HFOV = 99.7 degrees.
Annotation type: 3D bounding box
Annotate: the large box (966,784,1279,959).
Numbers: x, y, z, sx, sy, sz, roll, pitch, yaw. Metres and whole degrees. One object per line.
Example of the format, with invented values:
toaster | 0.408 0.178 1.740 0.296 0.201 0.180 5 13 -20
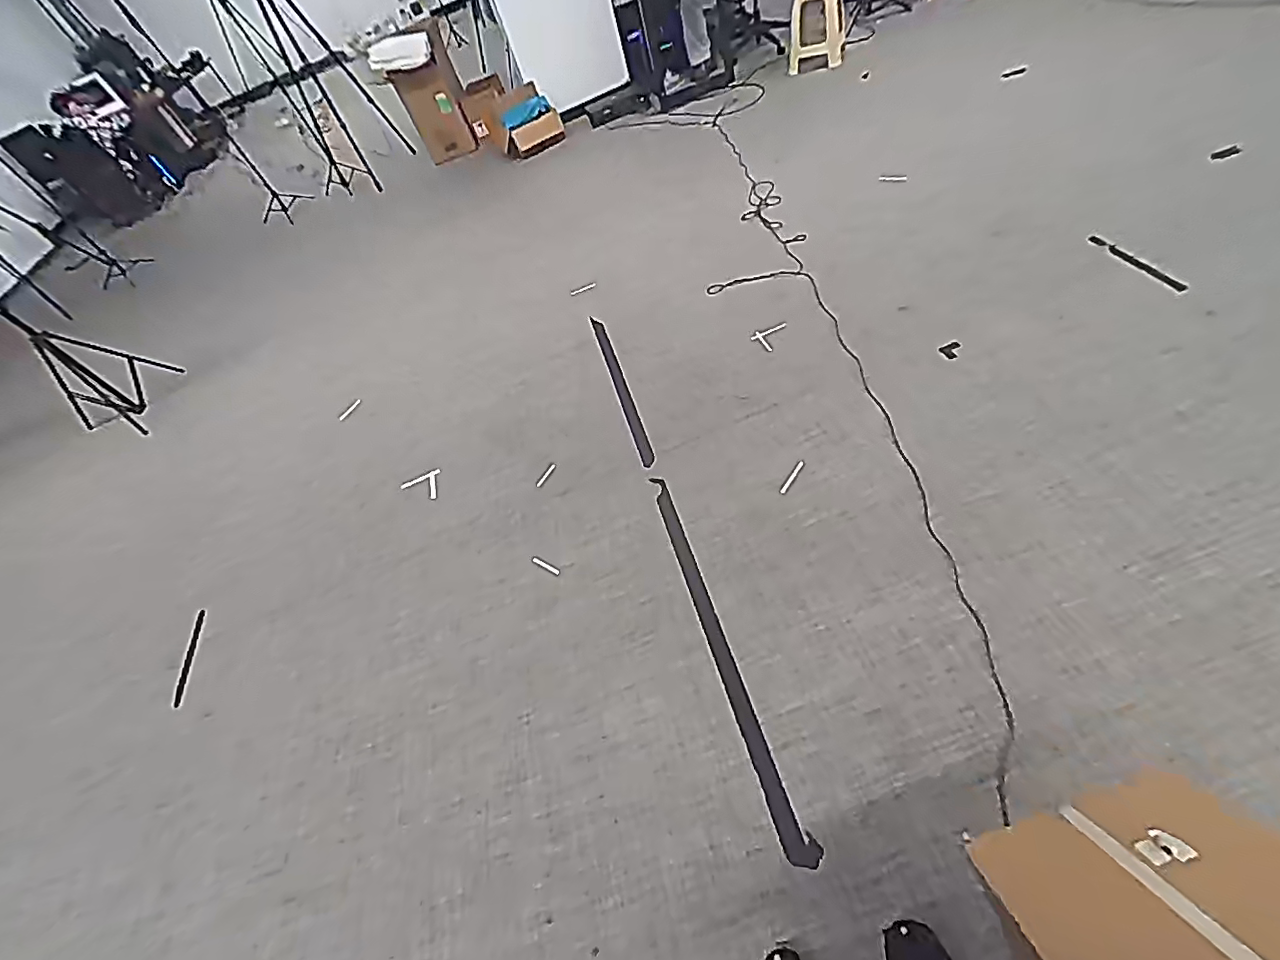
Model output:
large box | 0.658 0.616 0.582 0.320 0.408 0.320 -24 80 6
